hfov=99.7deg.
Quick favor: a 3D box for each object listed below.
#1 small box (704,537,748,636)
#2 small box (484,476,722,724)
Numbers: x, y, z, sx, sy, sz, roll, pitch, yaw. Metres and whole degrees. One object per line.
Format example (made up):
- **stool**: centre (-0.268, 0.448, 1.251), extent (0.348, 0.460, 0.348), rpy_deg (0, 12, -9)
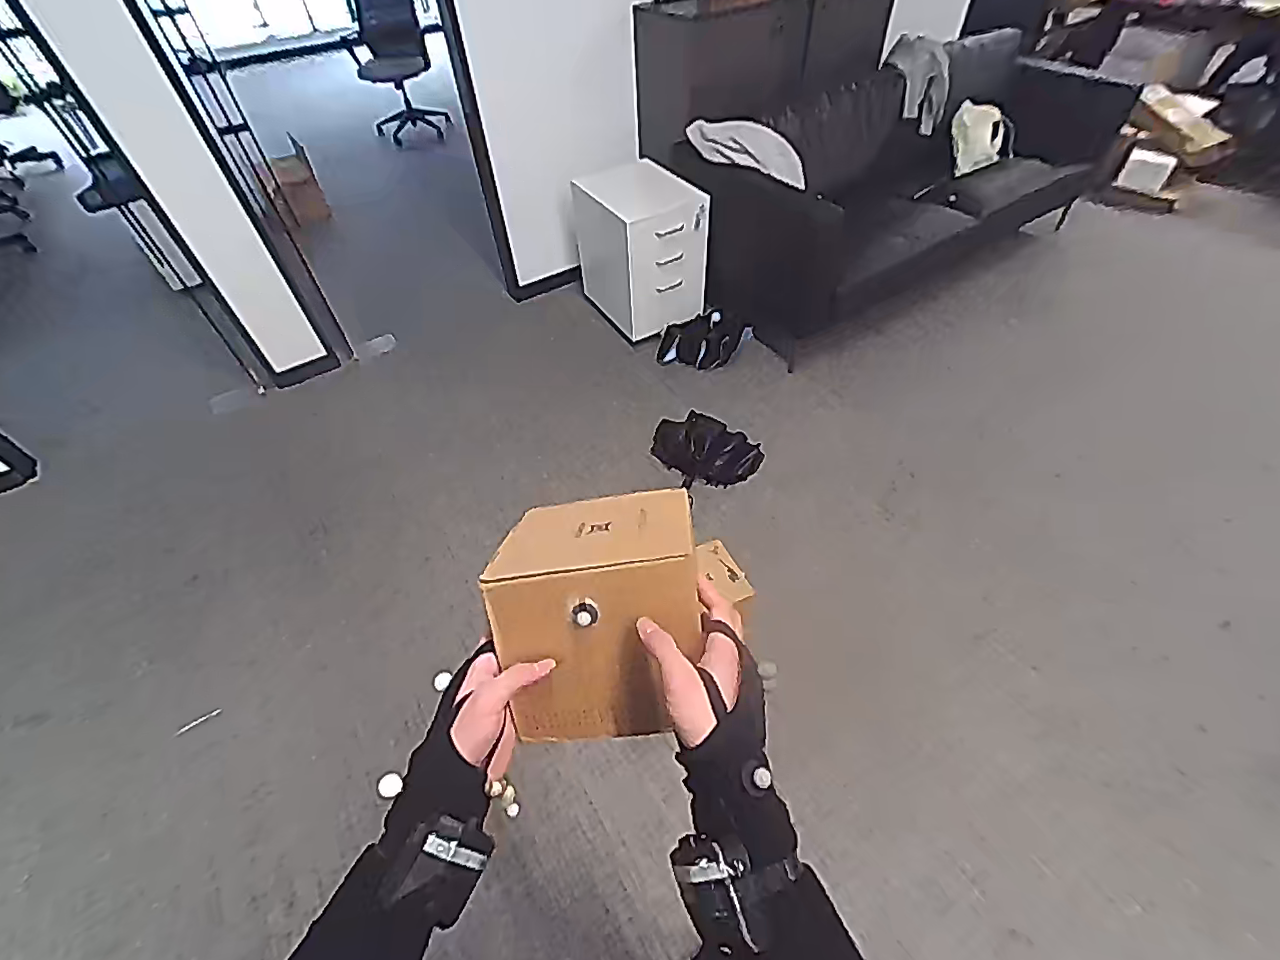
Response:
- **small box**: centre (0.130, 0.269, 1.265), extent (0.179, 0.176, 0.168), rpy_deg (-20, 51, -16)
- **small box**: centre (-0.023, 0.106, 0.511), extent (0.179, 0.176, 0.168), rpy_deg (-6, 17, 4)
